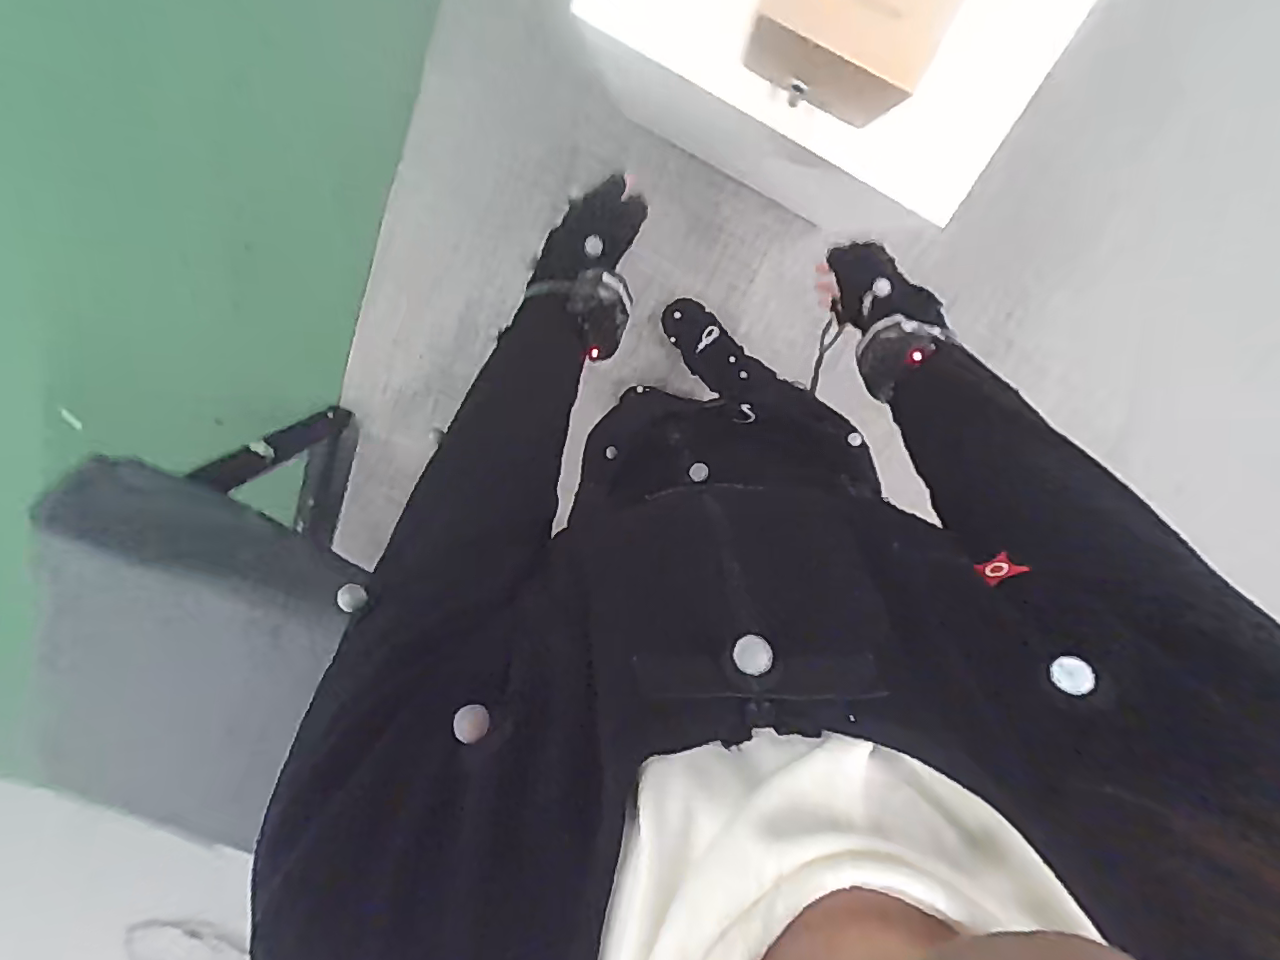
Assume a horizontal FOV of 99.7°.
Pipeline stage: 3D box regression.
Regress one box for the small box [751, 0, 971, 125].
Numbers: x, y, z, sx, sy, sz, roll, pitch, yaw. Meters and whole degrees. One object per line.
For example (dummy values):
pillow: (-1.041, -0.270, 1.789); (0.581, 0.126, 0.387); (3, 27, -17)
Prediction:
small box: (0.217, -0.479, 0.515); (0.168, 0.176, 0.179); (24, 115, -4)
